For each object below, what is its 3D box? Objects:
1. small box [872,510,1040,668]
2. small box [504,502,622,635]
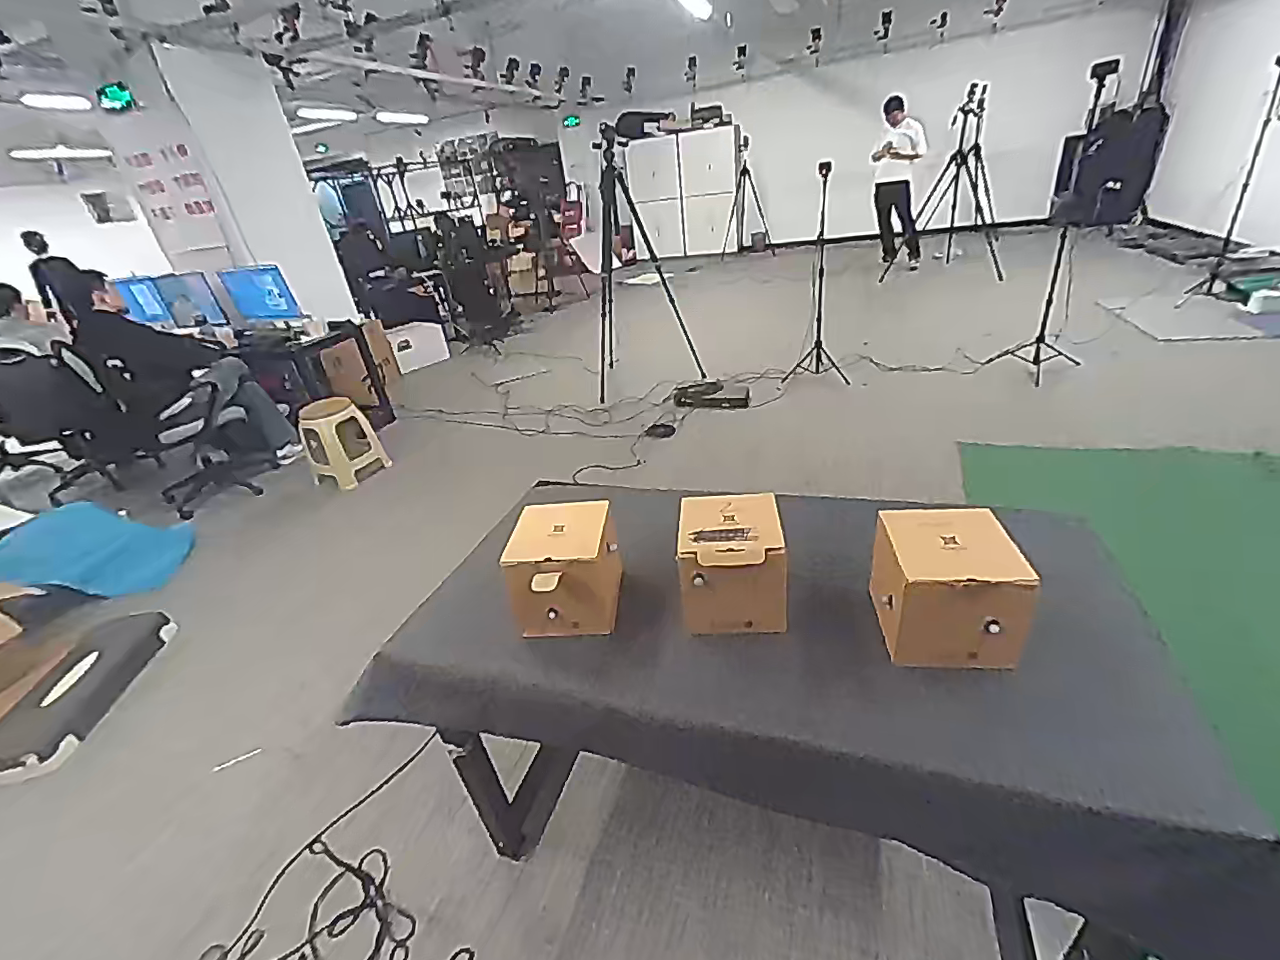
[{"bbox_3d":[0.460,0.162,0.819,0.168,0.176,0.179,-1,29,10],"label":"small box"},{"bbox_3d":[-0.128,0.158,0.979,0.168,0.176,0.179,-4,30,7],"label":"small box"}]
